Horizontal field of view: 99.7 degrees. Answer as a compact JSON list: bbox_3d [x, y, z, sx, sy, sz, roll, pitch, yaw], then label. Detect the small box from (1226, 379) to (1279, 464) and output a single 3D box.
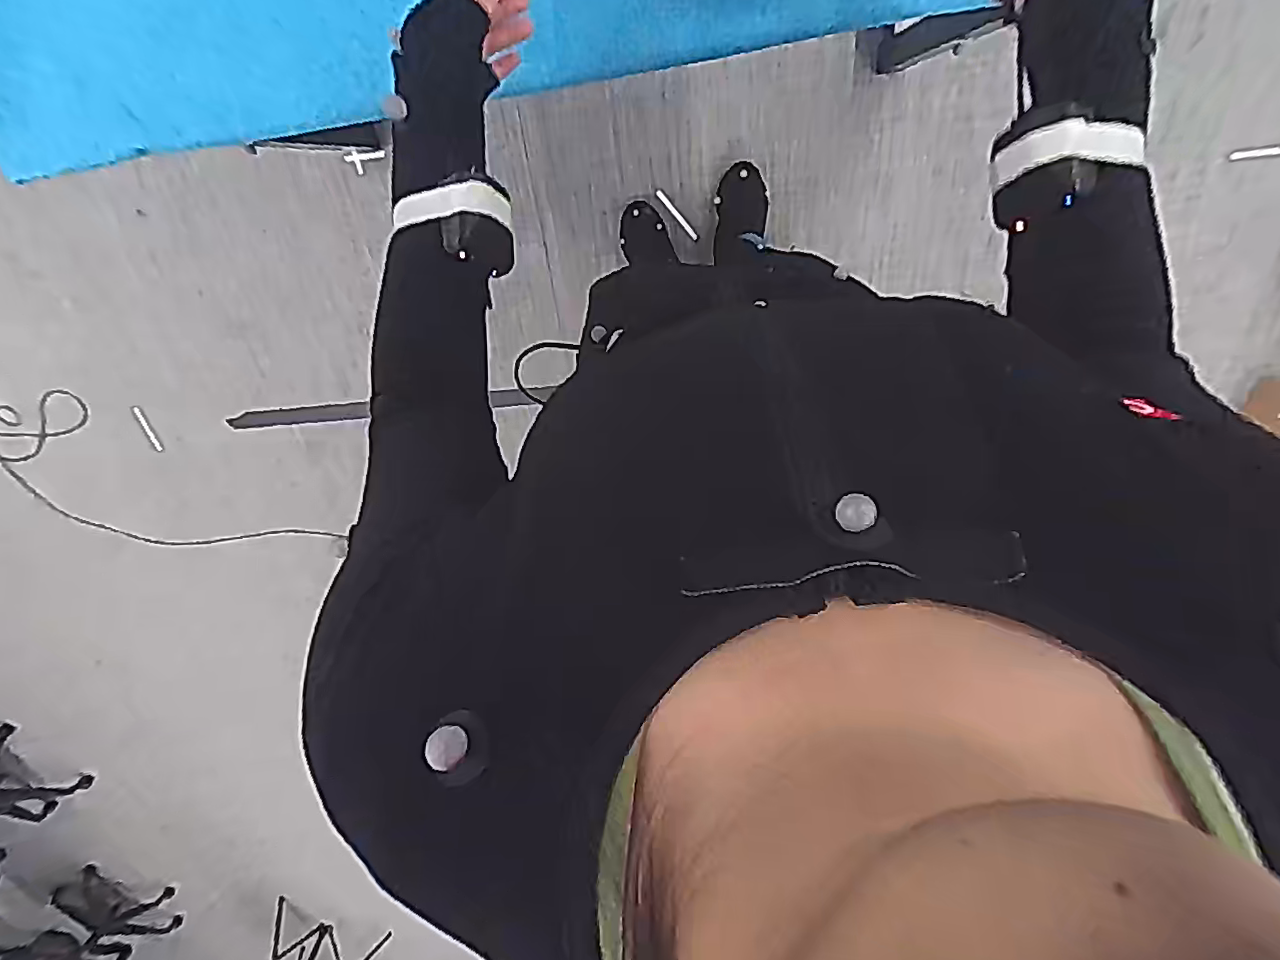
[{"bbox_3d":[1.683,-0.140,1.374,0.168,0.176,0.179,9,122,-4],"label":"small box"}]
